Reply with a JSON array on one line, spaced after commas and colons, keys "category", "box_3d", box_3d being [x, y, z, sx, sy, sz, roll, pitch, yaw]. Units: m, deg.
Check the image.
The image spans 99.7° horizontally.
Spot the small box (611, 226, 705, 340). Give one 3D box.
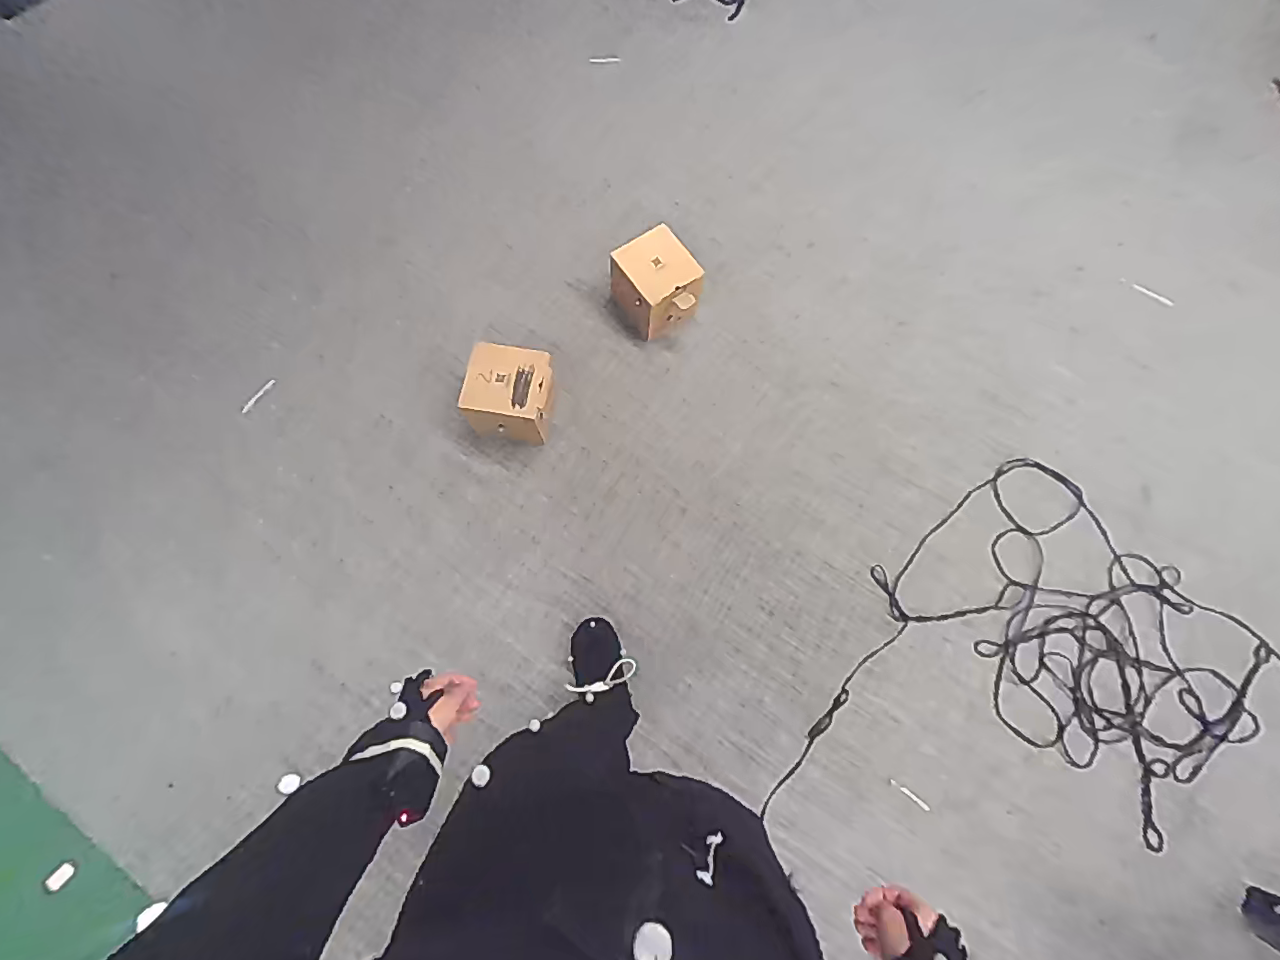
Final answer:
[{"category": "small box", "box_3d": [0.039, -0.493, 1.371, 0.168, 0.176, 0.179, -34, 79, -11]}]
